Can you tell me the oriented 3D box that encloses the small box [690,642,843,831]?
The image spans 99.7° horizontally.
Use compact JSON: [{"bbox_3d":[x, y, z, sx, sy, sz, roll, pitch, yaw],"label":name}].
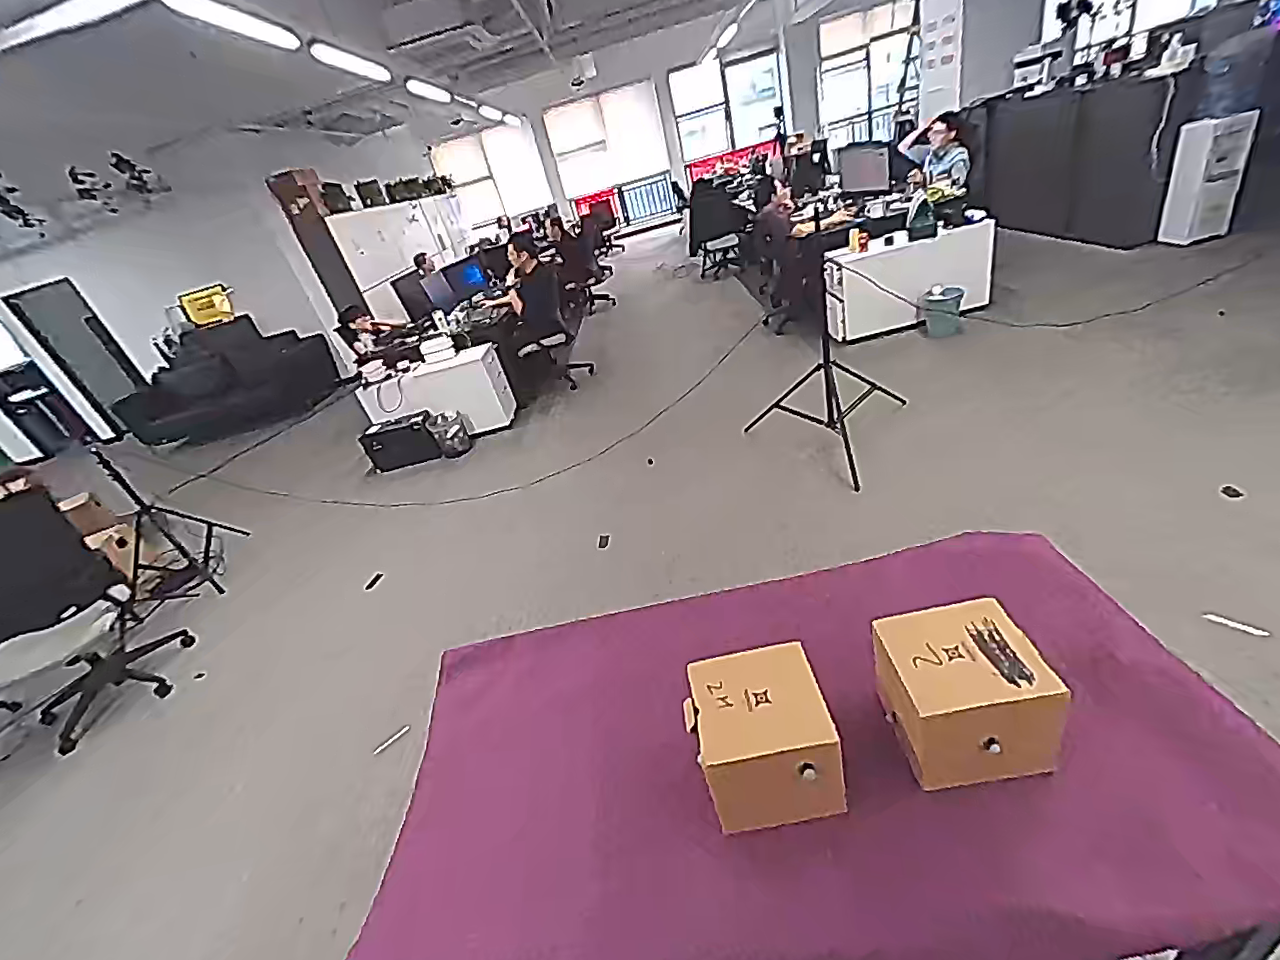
[{"bbox_3d":[0.181,0.368,0.779,0.179,0.176,0.168,-14,29,5],"label":"small box"}]
